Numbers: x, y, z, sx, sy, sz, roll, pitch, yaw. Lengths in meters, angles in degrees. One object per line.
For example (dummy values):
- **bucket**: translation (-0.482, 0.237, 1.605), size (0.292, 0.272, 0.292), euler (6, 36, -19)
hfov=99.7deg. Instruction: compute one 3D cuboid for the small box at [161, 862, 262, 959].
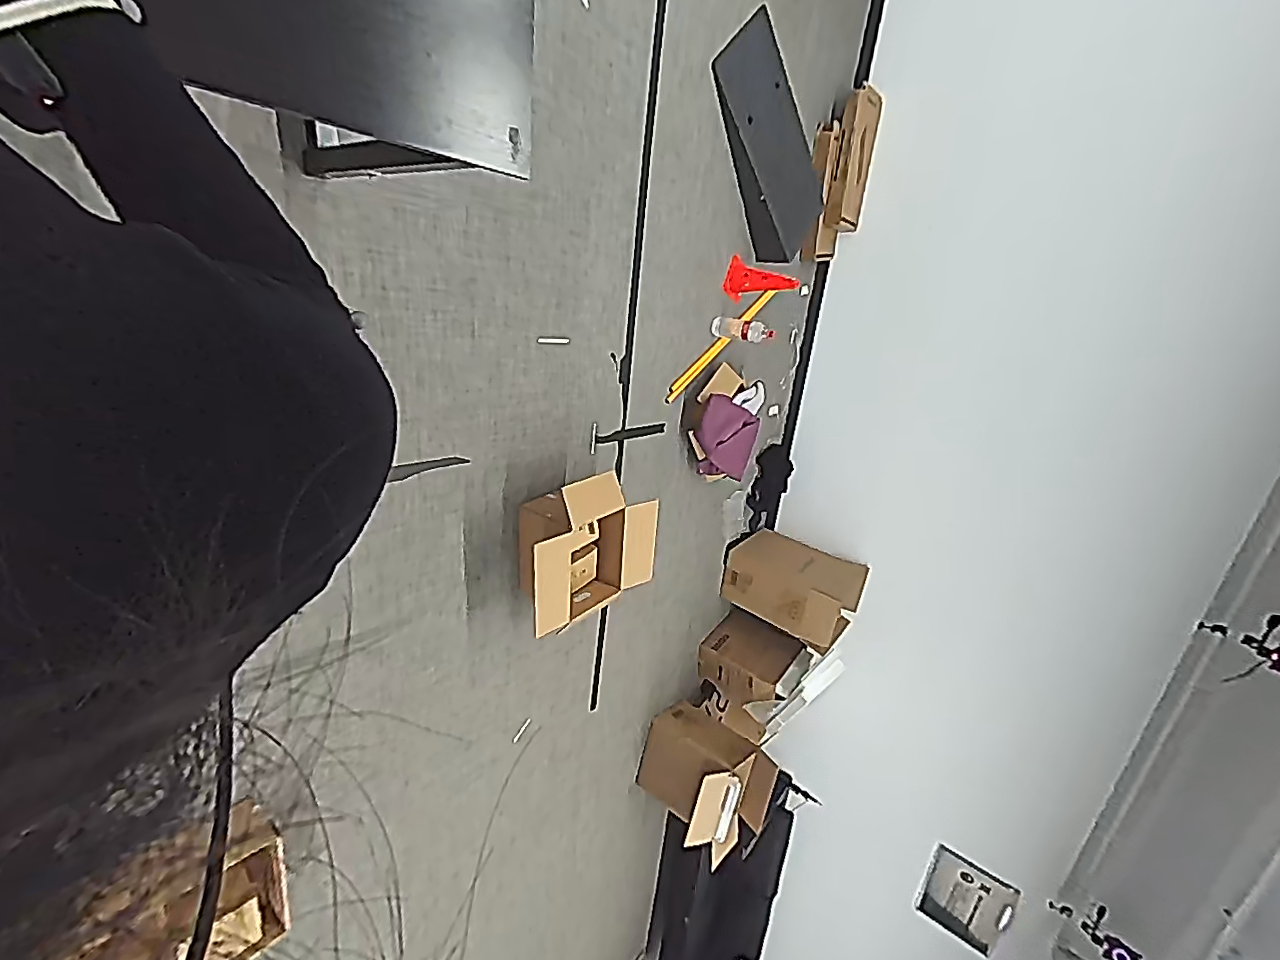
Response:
- **small box**: translation (-1.166, 1.205, 1.474), size (0.179, 0.176, 0.168), euler (-13, 115, -49)
